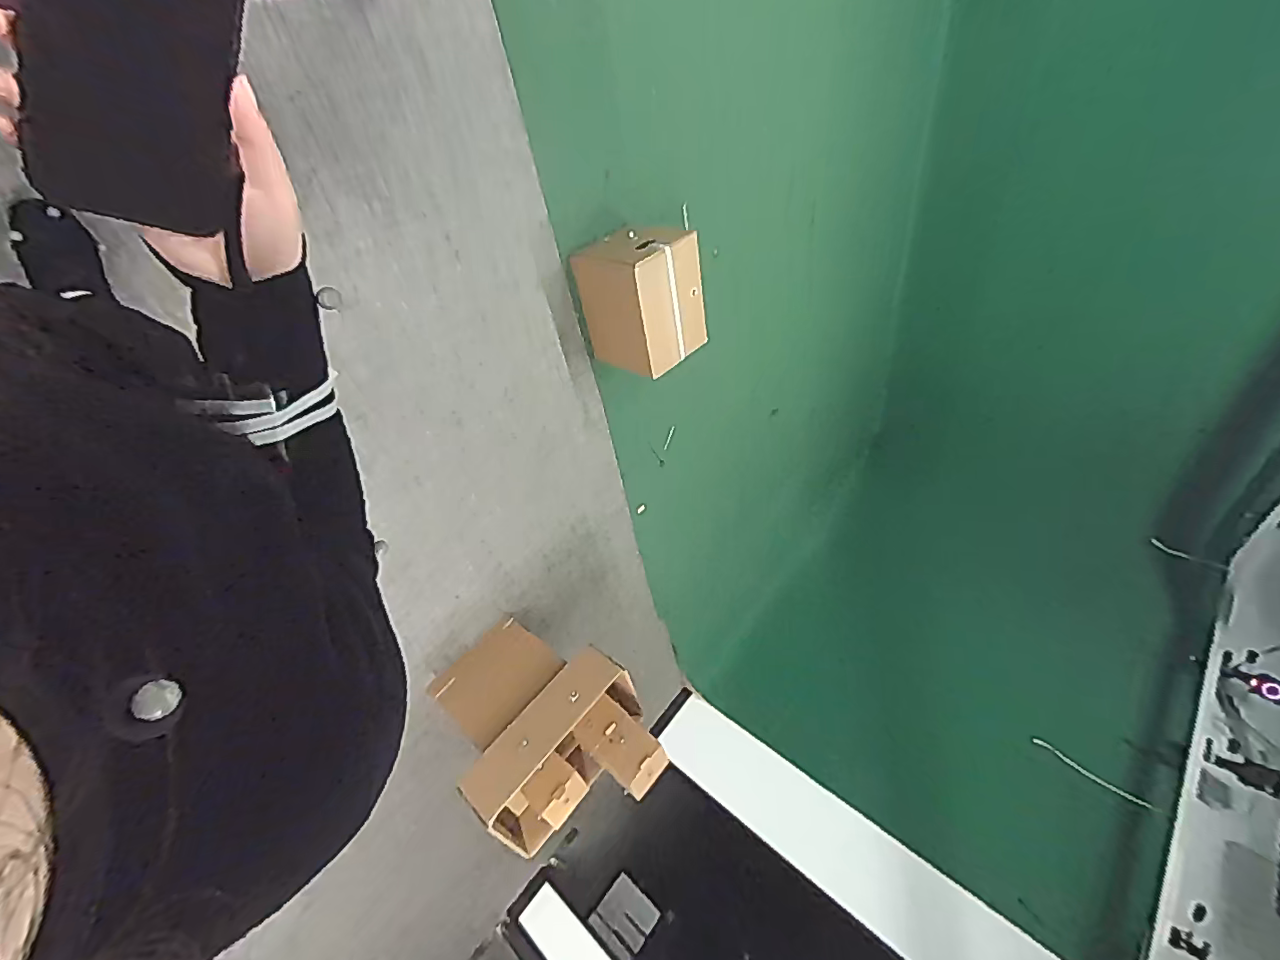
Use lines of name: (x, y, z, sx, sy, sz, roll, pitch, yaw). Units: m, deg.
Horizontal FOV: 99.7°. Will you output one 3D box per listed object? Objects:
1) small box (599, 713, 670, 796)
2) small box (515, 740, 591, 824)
small box: (-0.019, 0.958, 1.897, 0.168, 0.176, 0.179, -42, 139, -27)
small box: (-0.303, 1.044, 1.878, 0.168, 0.176, 0.179, -43, 139, -27)
